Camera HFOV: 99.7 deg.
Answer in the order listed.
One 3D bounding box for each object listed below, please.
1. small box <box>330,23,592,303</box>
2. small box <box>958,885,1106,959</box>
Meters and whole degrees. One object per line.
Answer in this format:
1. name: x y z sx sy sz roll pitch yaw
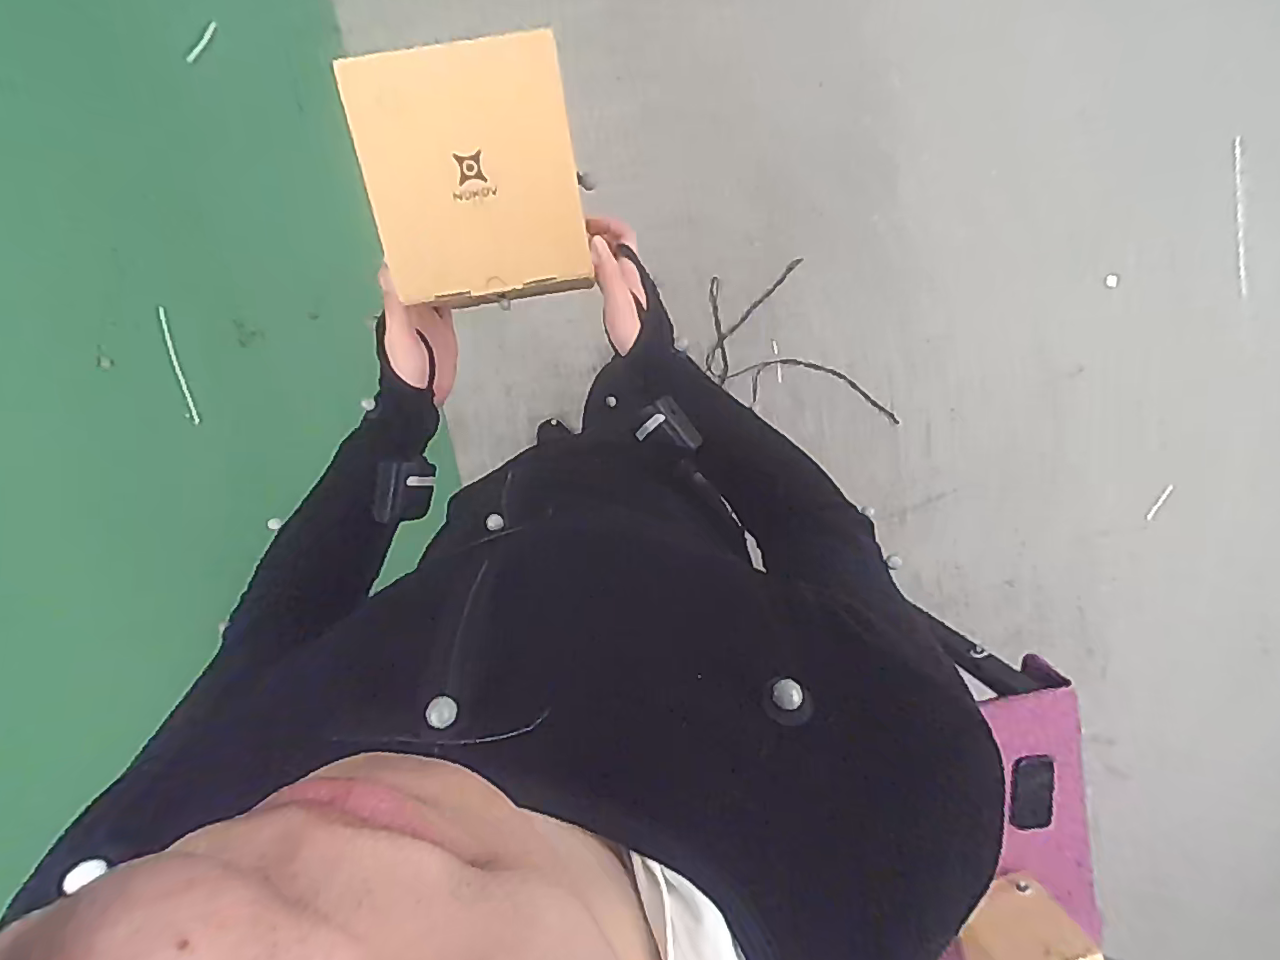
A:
1. small box: -0.139 -0.263 0.491 0.168 0.176 0.179 -9 108 -2
2. small box: 0.722 0.894 0.995 0.168 0.176 0.179 -17 100 -2
